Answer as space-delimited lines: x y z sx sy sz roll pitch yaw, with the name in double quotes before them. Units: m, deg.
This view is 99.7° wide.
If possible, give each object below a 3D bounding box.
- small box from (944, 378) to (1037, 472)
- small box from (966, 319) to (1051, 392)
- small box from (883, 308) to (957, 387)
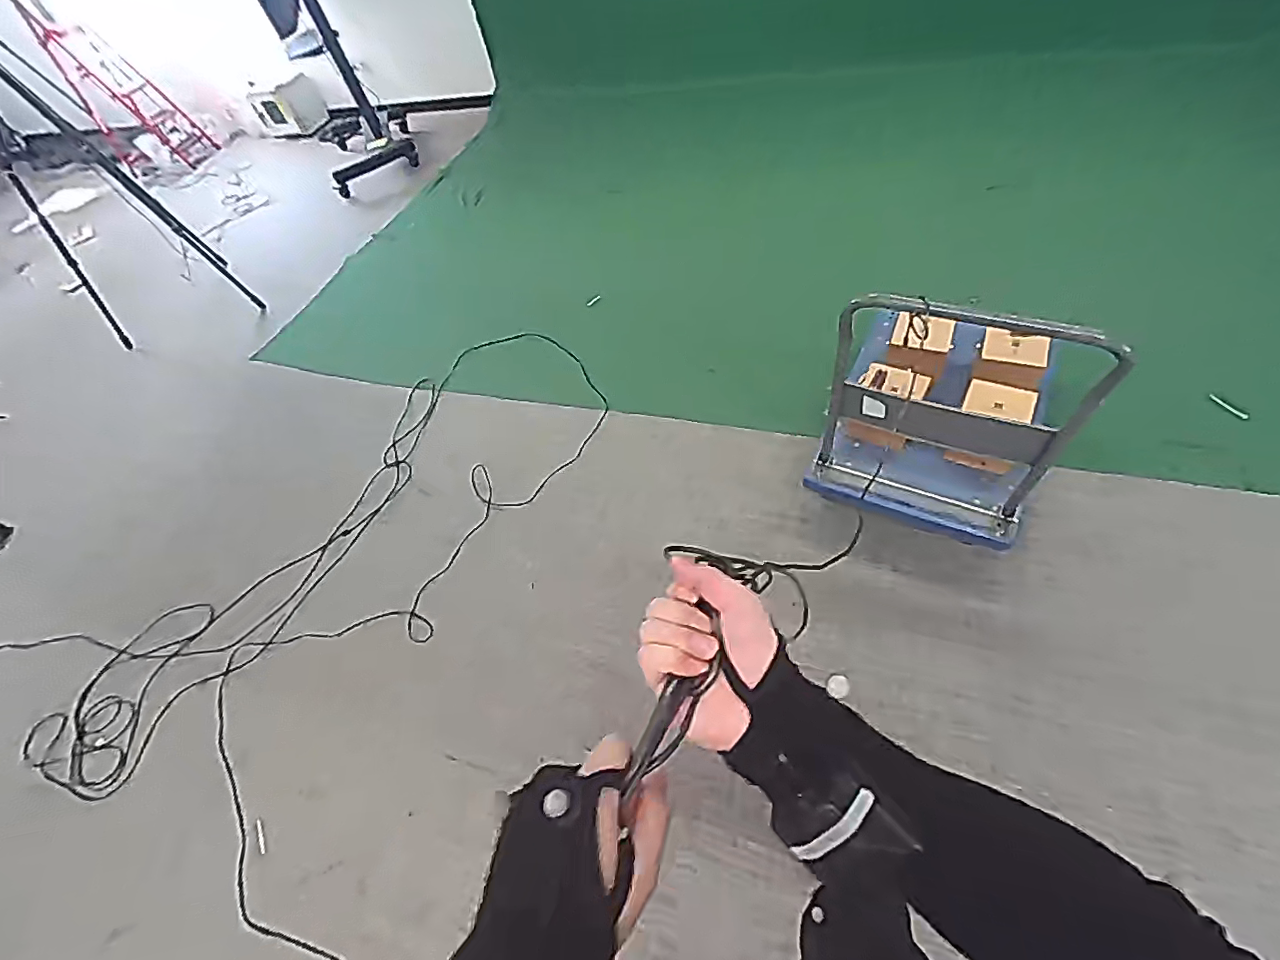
"small box" 0.991 -0.155 1.540 0.168 0.176 0.179 21 62 25
"small box" 1.123 -0.361 1.656 0.168 0.176 0.179 17 61 23
"small box" 0.900 -0.426 1.752 0.168 0.176 0.179 17 60 22
